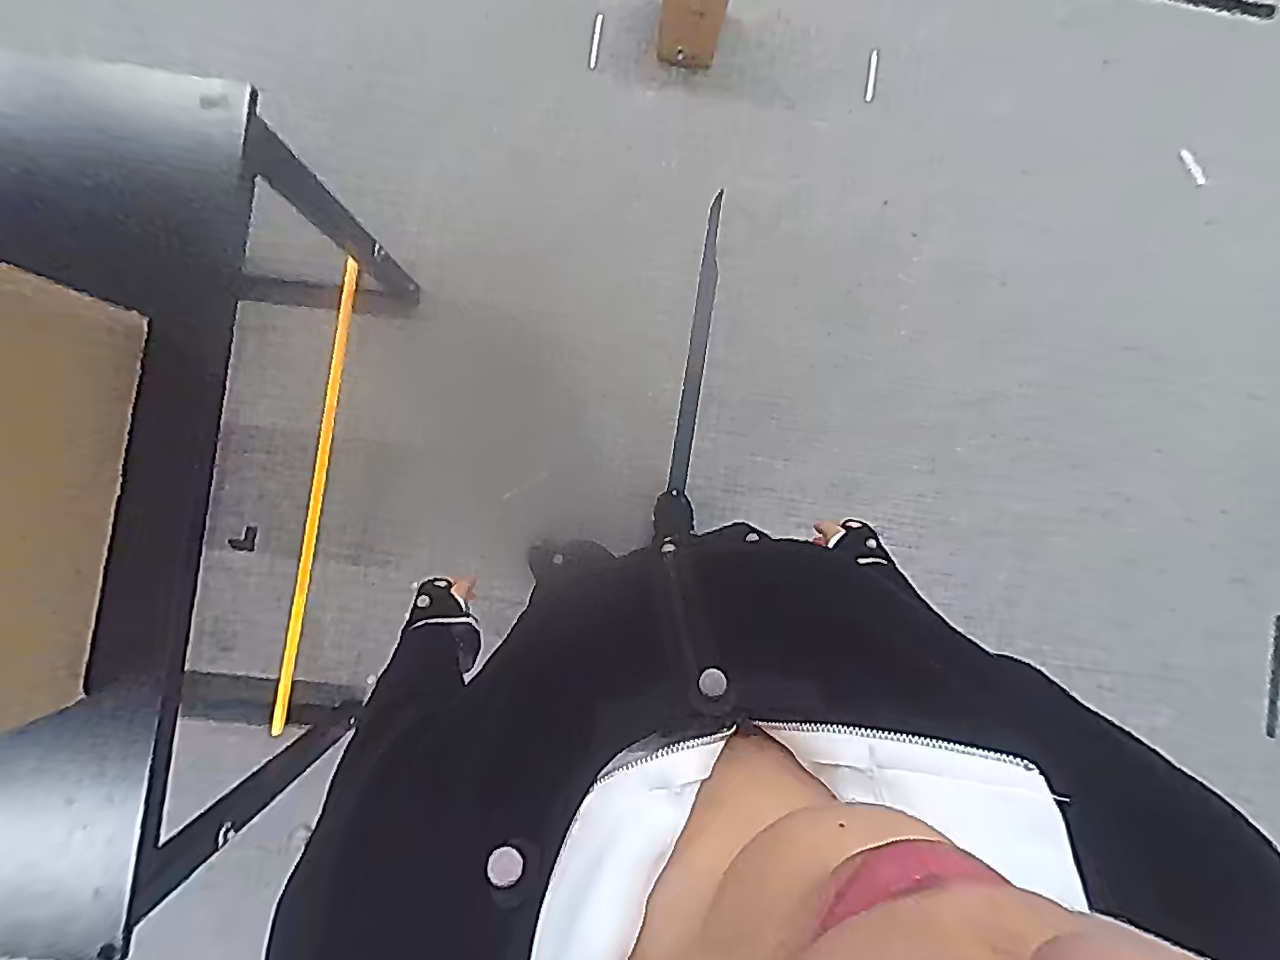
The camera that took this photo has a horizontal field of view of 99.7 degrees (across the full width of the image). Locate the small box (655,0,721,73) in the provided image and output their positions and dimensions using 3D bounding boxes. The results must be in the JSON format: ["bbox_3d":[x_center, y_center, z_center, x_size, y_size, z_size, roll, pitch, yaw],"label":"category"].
[{"bbox_3d":[0.134,-1.260,1.463,0.168,0.176,0.179,6,89,-2],"label":"small box"}]

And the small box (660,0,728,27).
[{"bbox_3d":[0.143,-1.247,1.299,0.168,0.176,0.179,8,88,-2],"label":"small box"}]
